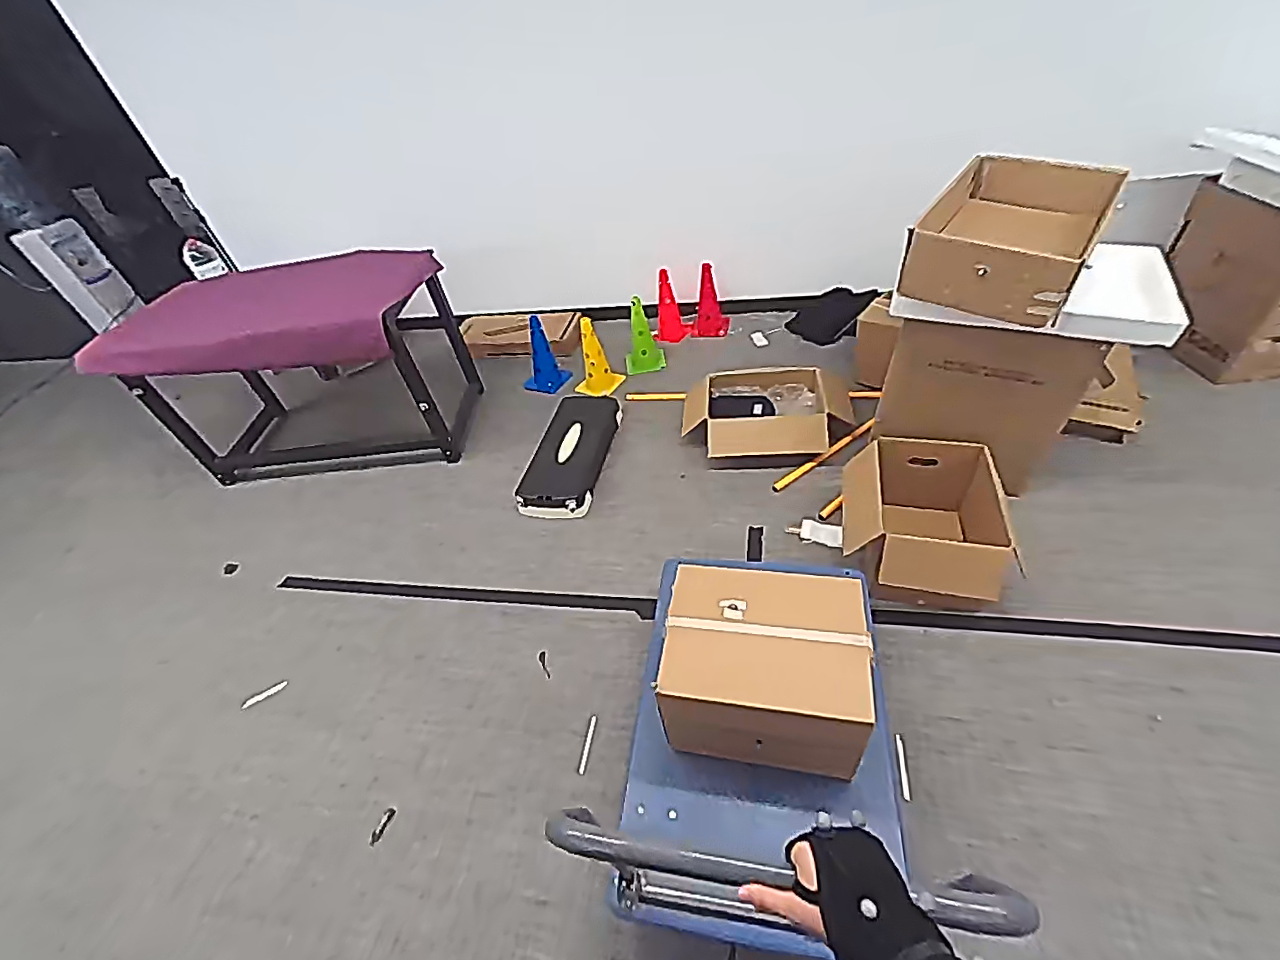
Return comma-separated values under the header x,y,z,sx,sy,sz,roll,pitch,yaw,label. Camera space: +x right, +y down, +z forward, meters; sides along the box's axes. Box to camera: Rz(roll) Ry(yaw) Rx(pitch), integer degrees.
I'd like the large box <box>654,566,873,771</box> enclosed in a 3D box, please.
x,y,z,sx,sy,sz,roll,pitch,yaw,label
0.270,0.415,1.204,0.408,0.320,0.320,1,44,14,large box
